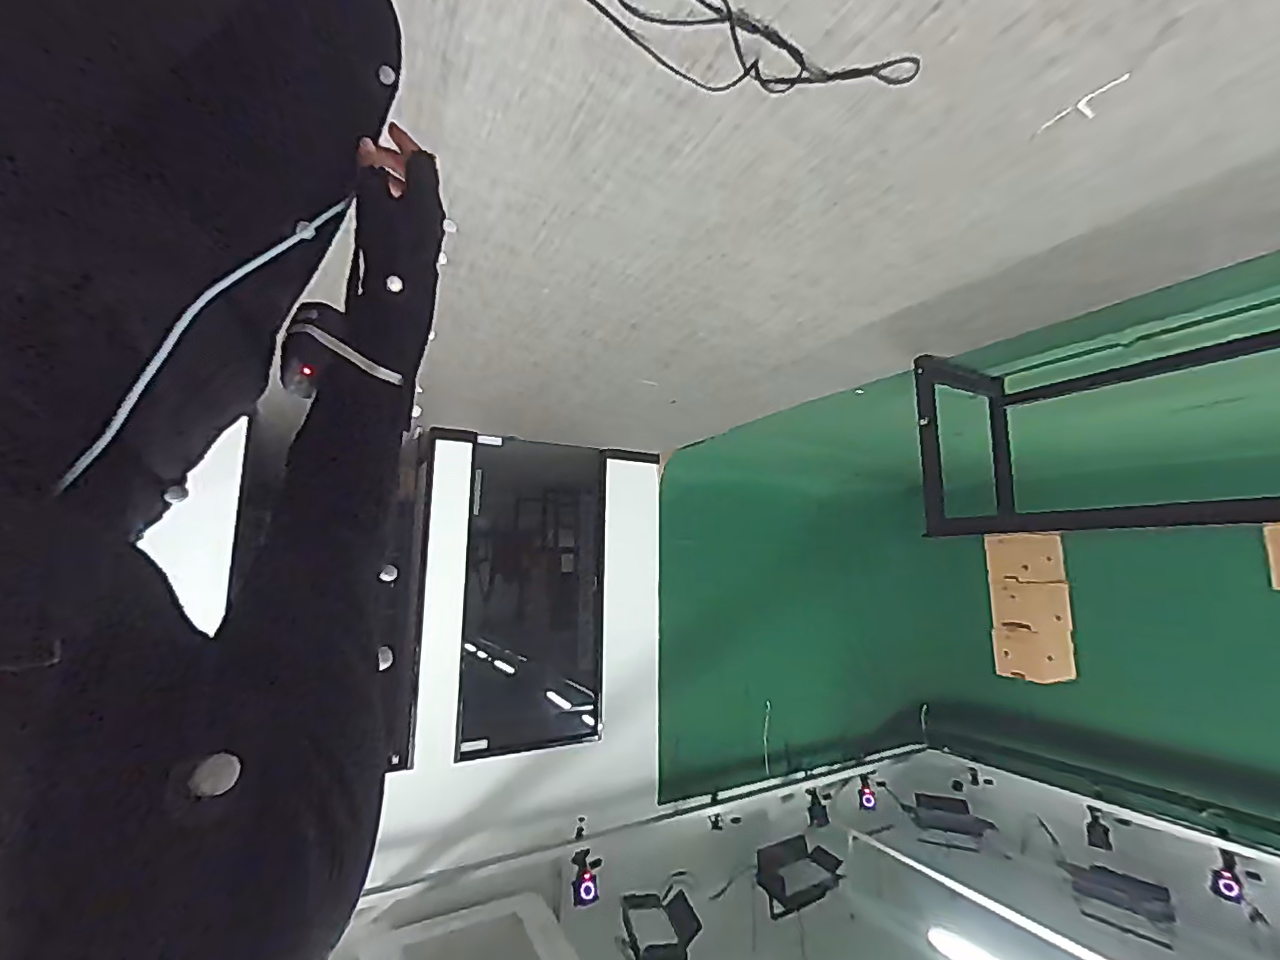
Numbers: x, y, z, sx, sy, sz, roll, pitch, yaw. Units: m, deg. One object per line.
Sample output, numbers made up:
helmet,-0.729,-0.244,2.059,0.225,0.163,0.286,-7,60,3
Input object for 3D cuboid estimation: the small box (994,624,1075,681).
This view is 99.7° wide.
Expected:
small box,1.392,0.603,1.917,0.179,0.176,0.168,2,172,-22

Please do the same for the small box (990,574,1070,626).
small box,1.393,0.425,1.937,0.179,0.176,0.168,3,171,-22

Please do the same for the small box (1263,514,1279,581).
small box,1.741,0.173,1.368,0.179,0.176,0.168,4,171,-21
